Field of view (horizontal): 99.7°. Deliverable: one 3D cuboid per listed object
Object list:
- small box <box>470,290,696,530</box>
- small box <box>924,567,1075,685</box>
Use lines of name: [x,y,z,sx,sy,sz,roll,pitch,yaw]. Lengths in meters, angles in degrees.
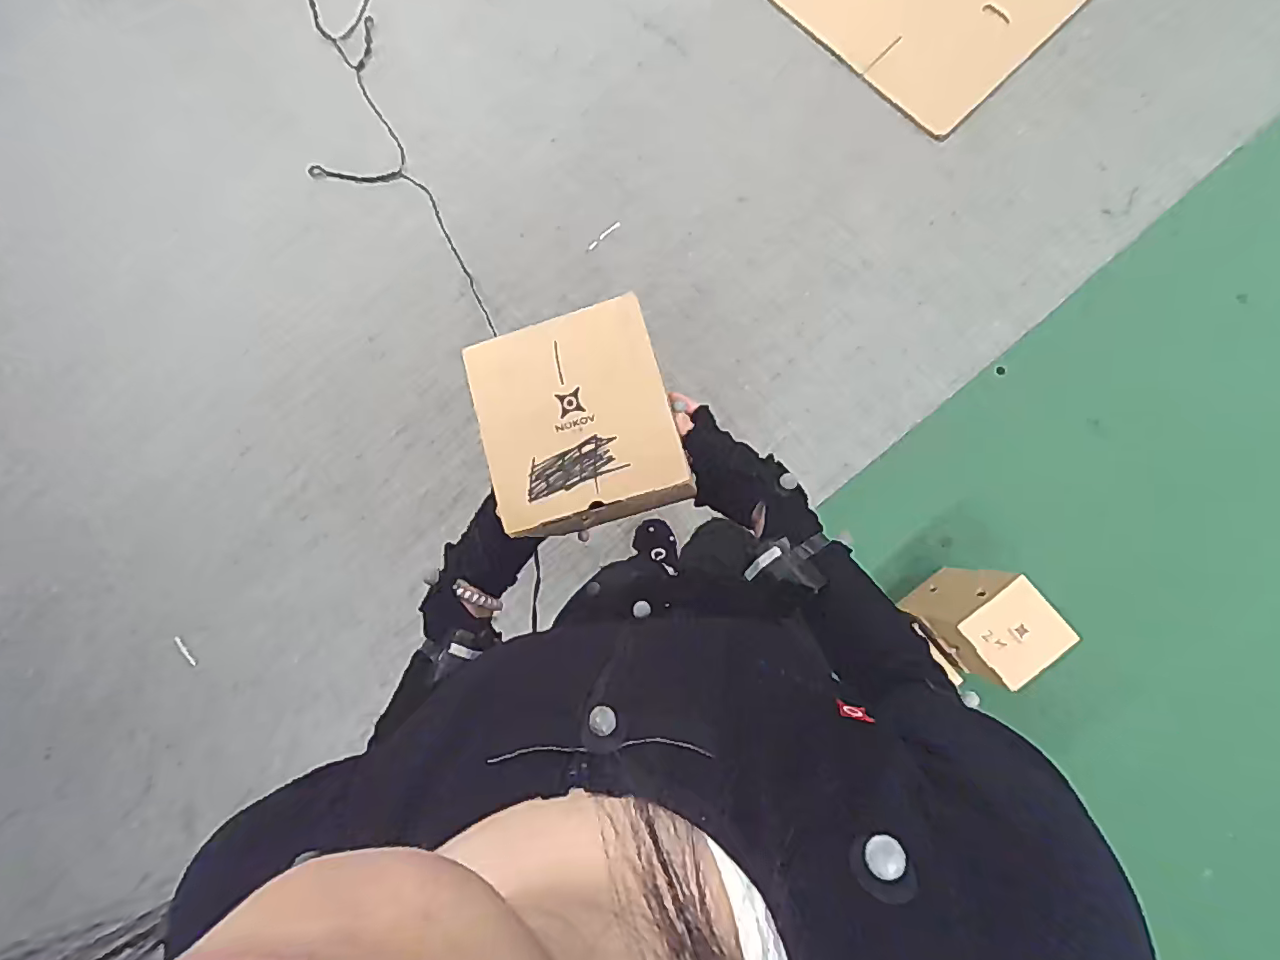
small box: [-0.043,-0.054,0.543,0.168,0.176,0.179,-16,82,5]
small box: [0.765,0.305,1.173,0.179,0.176,0.168,-39,83,1]
